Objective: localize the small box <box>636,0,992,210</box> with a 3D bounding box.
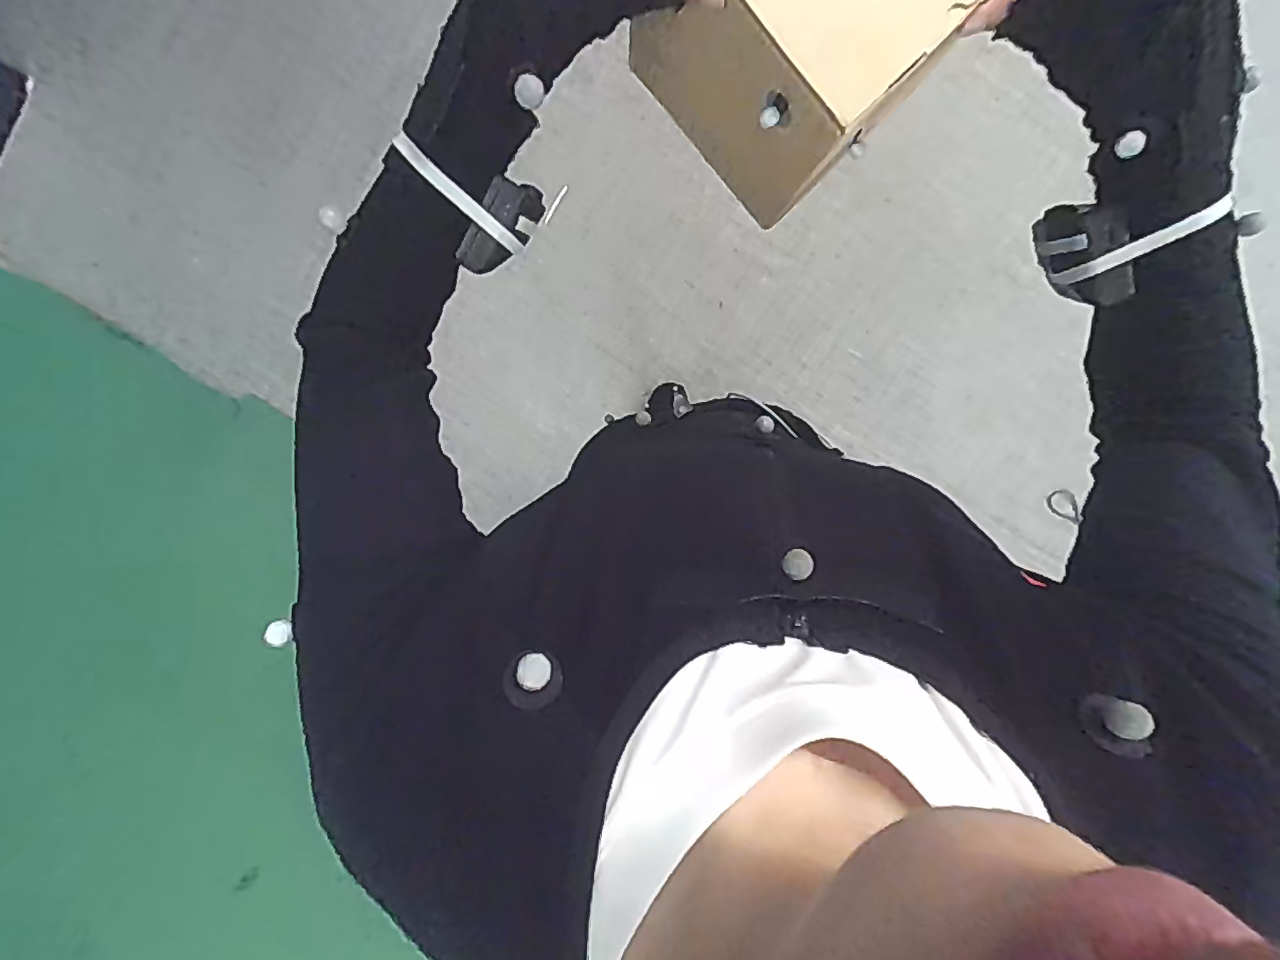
[{"bbox_3d":[0.111,-0.327,0.369,0.168,0.176,0.179,-42,98,4],"label":"small box"}]
